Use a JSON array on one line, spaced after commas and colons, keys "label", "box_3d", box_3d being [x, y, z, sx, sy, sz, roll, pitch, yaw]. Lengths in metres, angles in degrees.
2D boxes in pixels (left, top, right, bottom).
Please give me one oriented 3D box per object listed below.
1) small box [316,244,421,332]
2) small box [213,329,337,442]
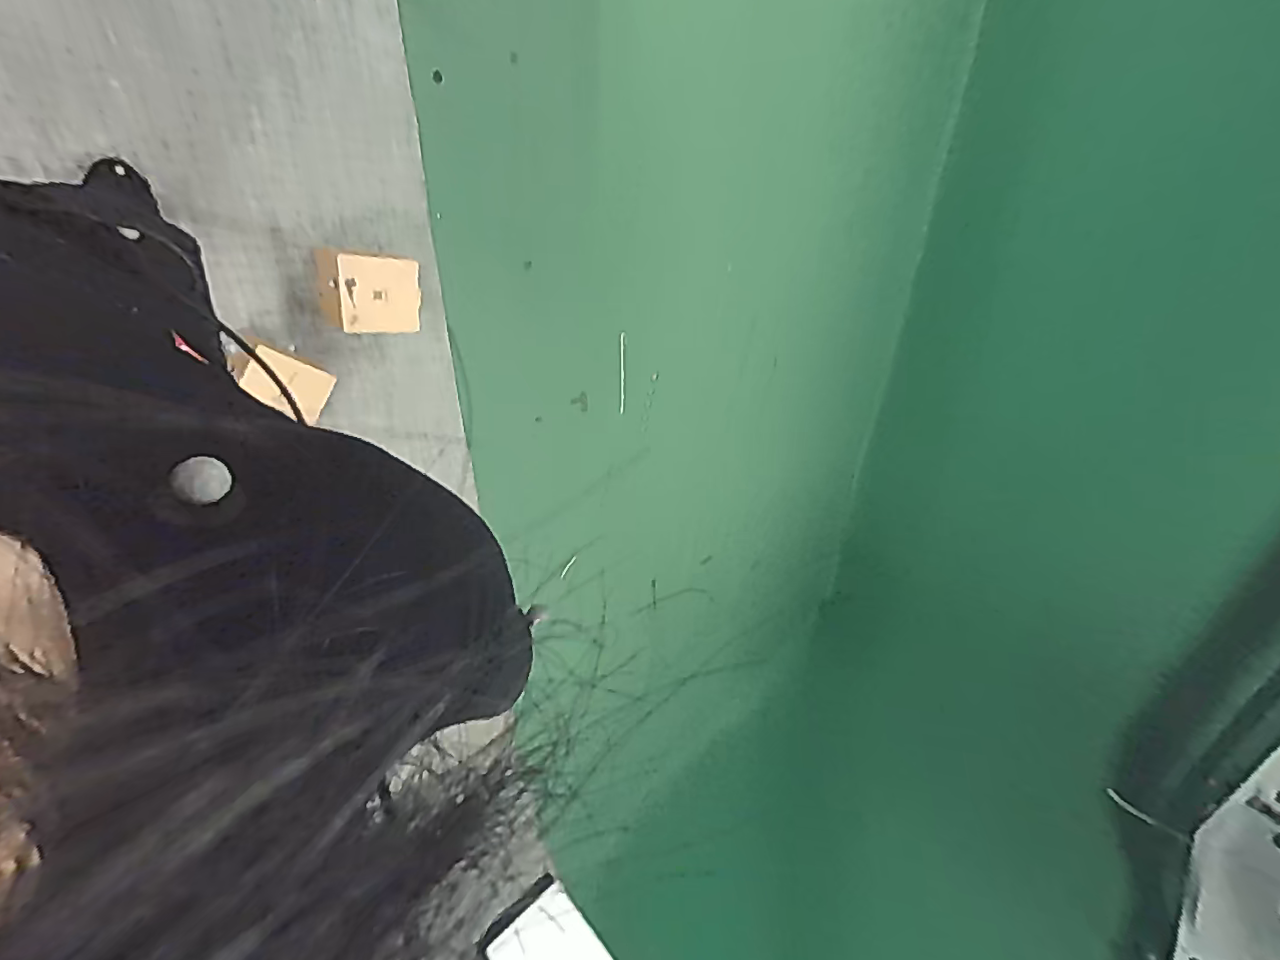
[{"label": "small box", "box_3d": [-0.635, -0.451, 1.270, 0.179, 0.176, 0.168, -14, 123, -42]}, {"label": "small box", "box_3d": [-0.823, -0.213, 1.212, 0.168, 0.176, 0.179, 27, 91, -51]}]
